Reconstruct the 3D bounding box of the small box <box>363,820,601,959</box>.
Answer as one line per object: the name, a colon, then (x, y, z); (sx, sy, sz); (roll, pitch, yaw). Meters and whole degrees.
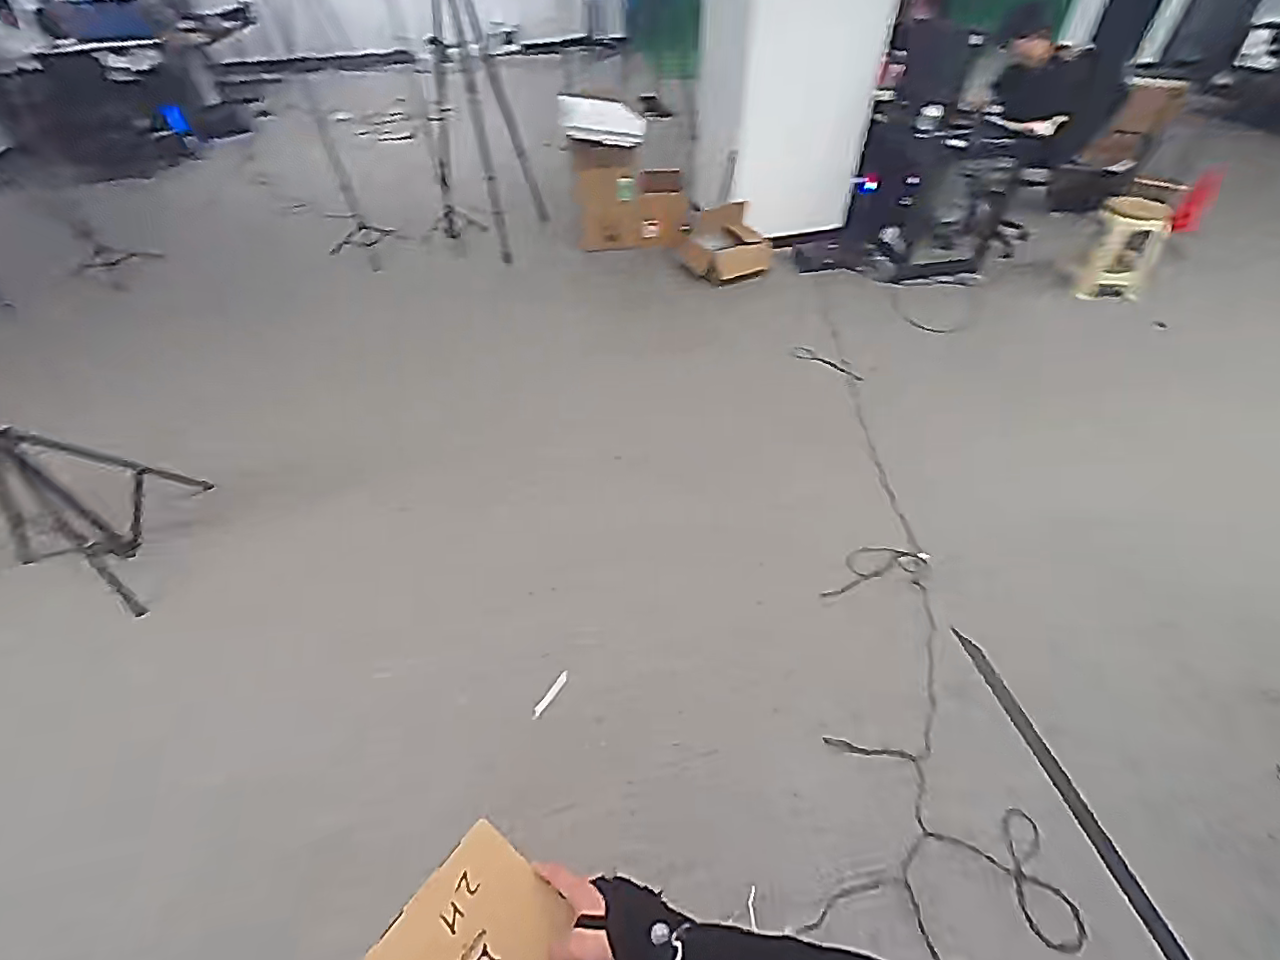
small box: (-0.158, 0.509, 0.581); (0.179, 0.176, 0.168); (33, 55, 21)
